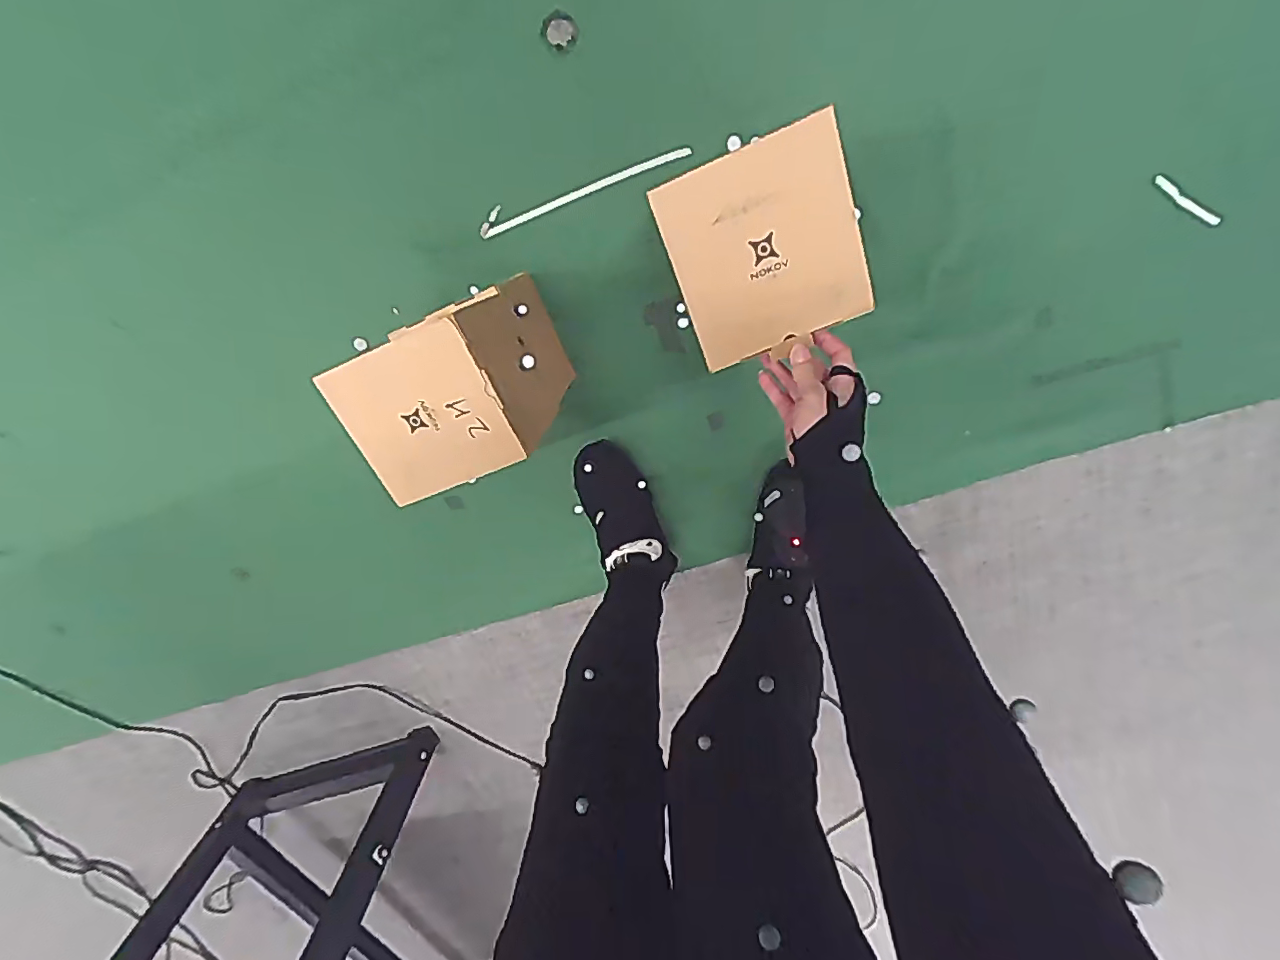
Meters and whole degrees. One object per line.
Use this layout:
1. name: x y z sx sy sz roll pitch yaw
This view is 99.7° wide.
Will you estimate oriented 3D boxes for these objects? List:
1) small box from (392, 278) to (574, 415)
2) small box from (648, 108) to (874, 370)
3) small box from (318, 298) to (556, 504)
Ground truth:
1. small box: -0.213 -0.176 0.790 0.168 0.176 0.179 -20 112 13
2. small box: 0.116 -0.241 0.557 0.168 0.176 0.179 -20 114 11
3. small box: -0.222 -0.100 0.644 0.179 0.176 0.168 -20 113 13
